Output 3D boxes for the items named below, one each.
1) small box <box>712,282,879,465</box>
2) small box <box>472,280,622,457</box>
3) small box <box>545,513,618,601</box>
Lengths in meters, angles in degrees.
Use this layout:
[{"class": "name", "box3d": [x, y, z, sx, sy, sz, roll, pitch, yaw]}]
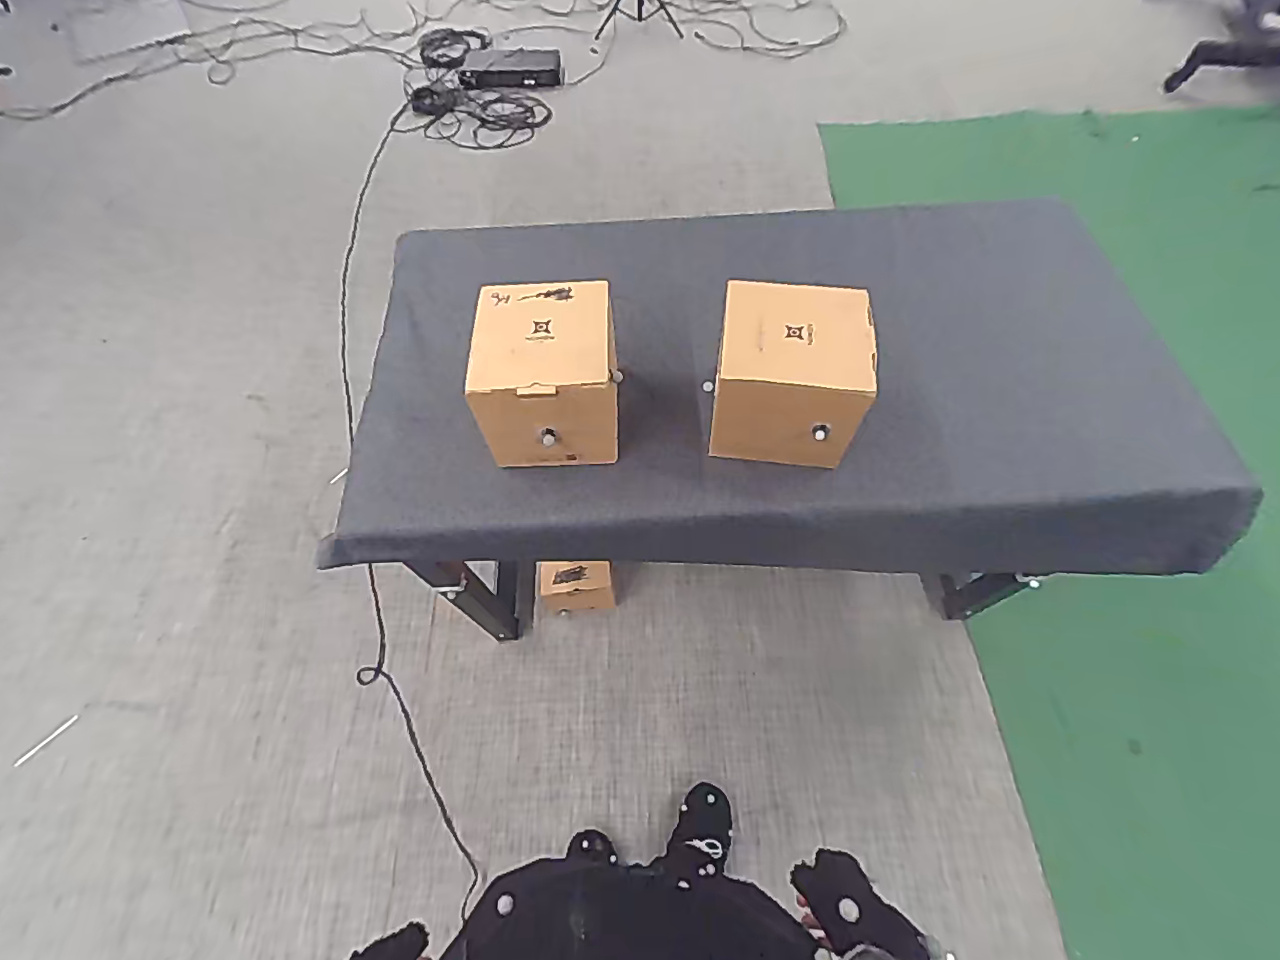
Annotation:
[{"class": "small box", "box3d": [0.195, -0.134, 0.714, 0.179, 0.176, 0.168, 6, 61, 6]}, {"class": "small box", "box3d": [-0.110, -0.140, 0.725, 0.168, 0.176, 0.179, -1, 61, 1]}, {"class": "small box", "box3d": [-0.145, 0.203, 1.371, 0.168, 0.176, 0.179, -5, 62, -1]}]
